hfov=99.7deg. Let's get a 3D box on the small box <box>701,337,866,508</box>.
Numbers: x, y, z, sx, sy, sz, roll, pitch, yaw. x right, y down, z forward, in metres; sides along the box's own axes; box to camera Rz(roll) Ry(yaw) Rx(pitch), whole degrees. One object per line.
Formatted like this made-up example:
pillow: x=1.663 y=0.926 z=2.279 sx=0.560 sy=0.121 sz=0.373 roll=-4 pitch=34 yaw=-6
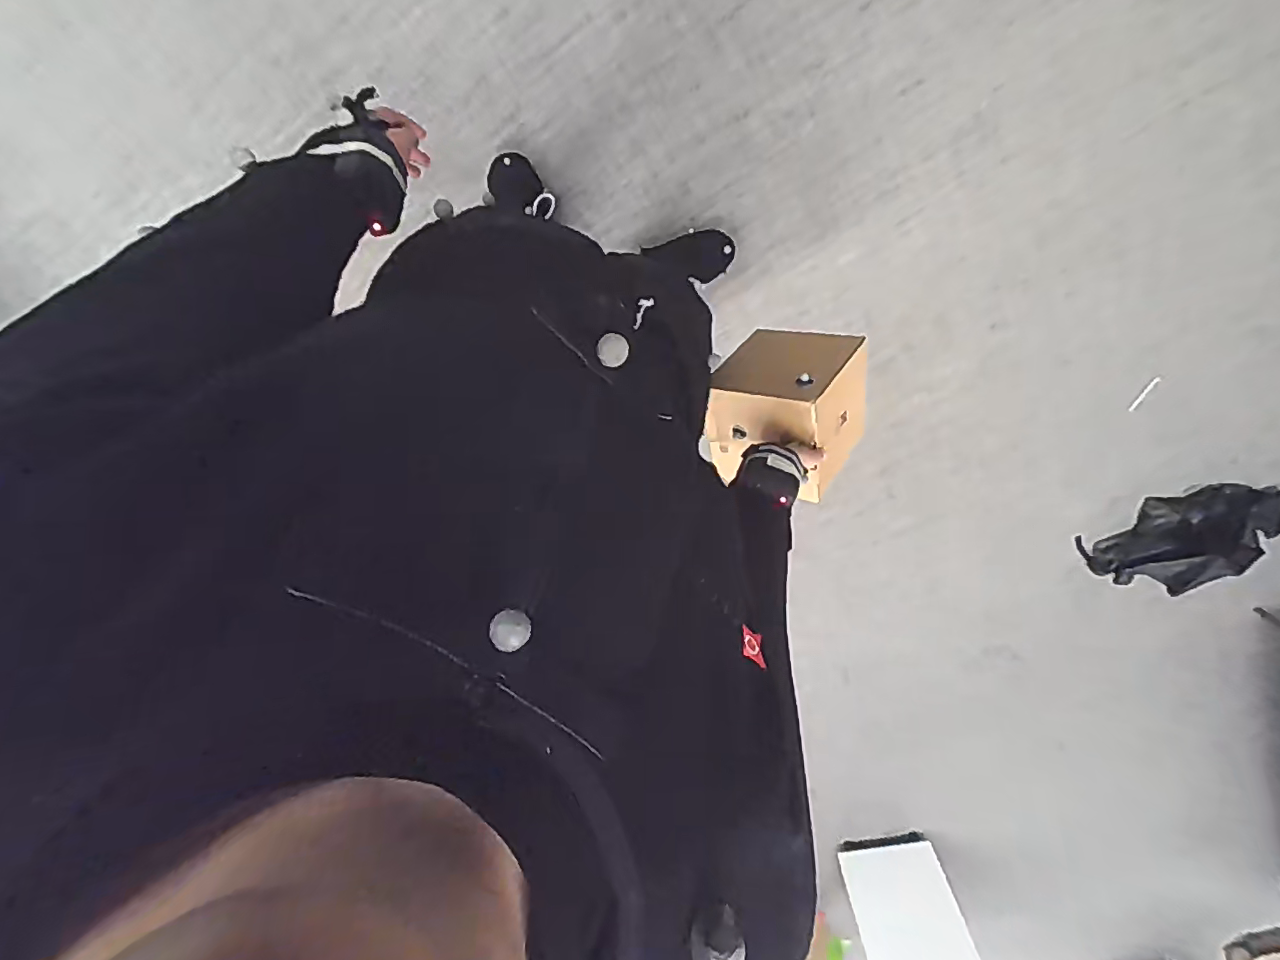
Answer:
small box: x=0.208 y=-0.092 z=0.781 sx=0.176 sy=0.179 sz=0.168 roll=17 pitch=139 yaw=36
